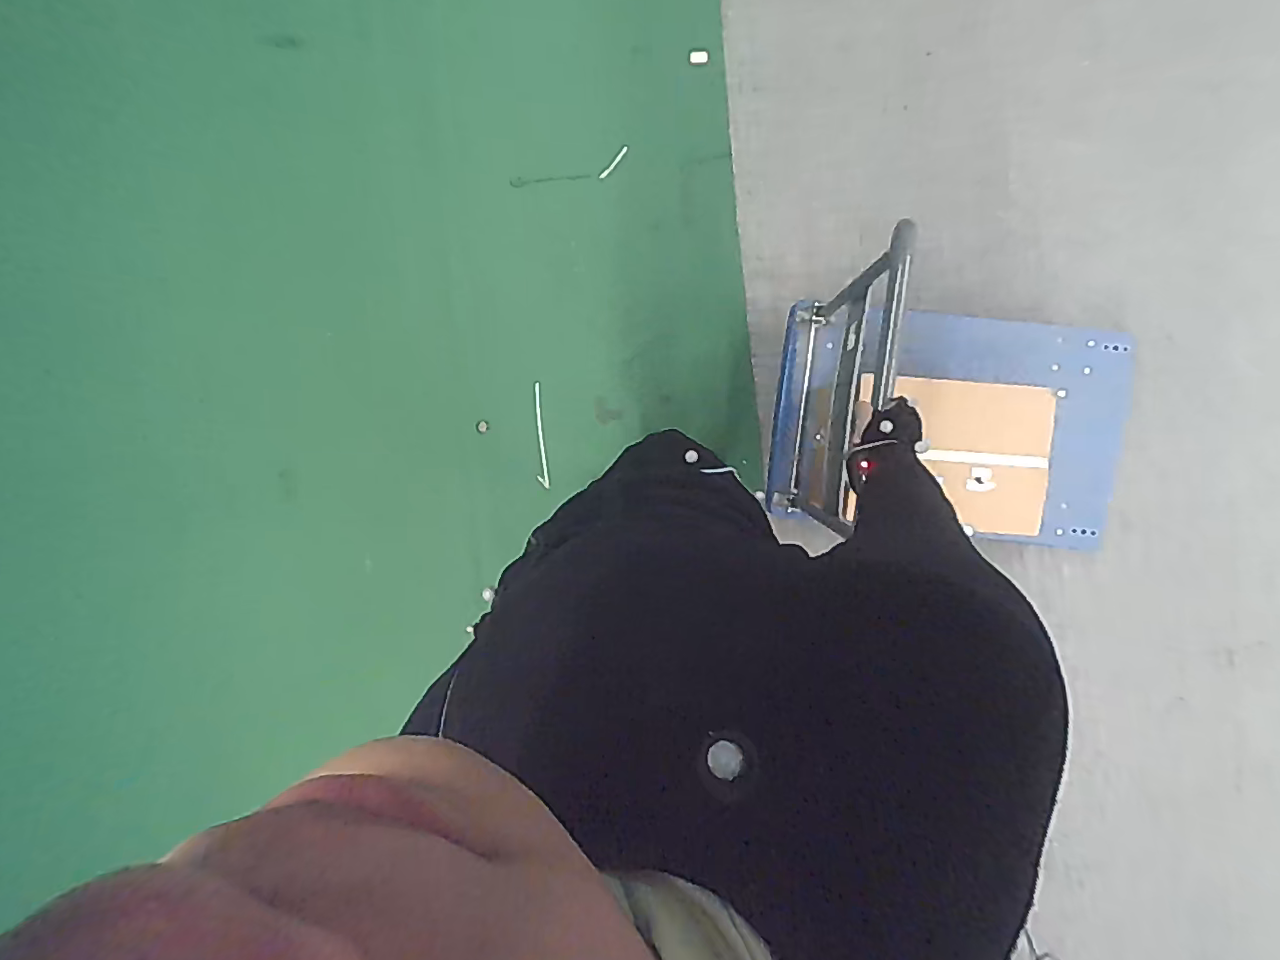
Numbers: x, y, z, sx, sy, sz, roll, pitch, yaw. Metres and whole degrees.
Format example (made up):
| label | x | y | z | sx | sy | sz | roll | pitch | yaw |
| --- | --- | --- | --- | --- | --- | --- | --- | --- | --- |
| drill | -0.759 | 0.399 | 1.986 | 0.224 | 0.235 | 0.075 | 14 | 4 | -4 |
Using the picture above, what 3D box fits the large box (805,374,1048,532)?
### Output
| label | x | y | z | sx | sy | sz | roll | pitch | yaw |
| --- | --- | --- | --- | --- | --- | --- | --- | --- | --- |
| large box | 0.639 | -0.066 | 1.279 | 0.408 | 0.320 | 0.320 | 5 | 95 | 1 |
